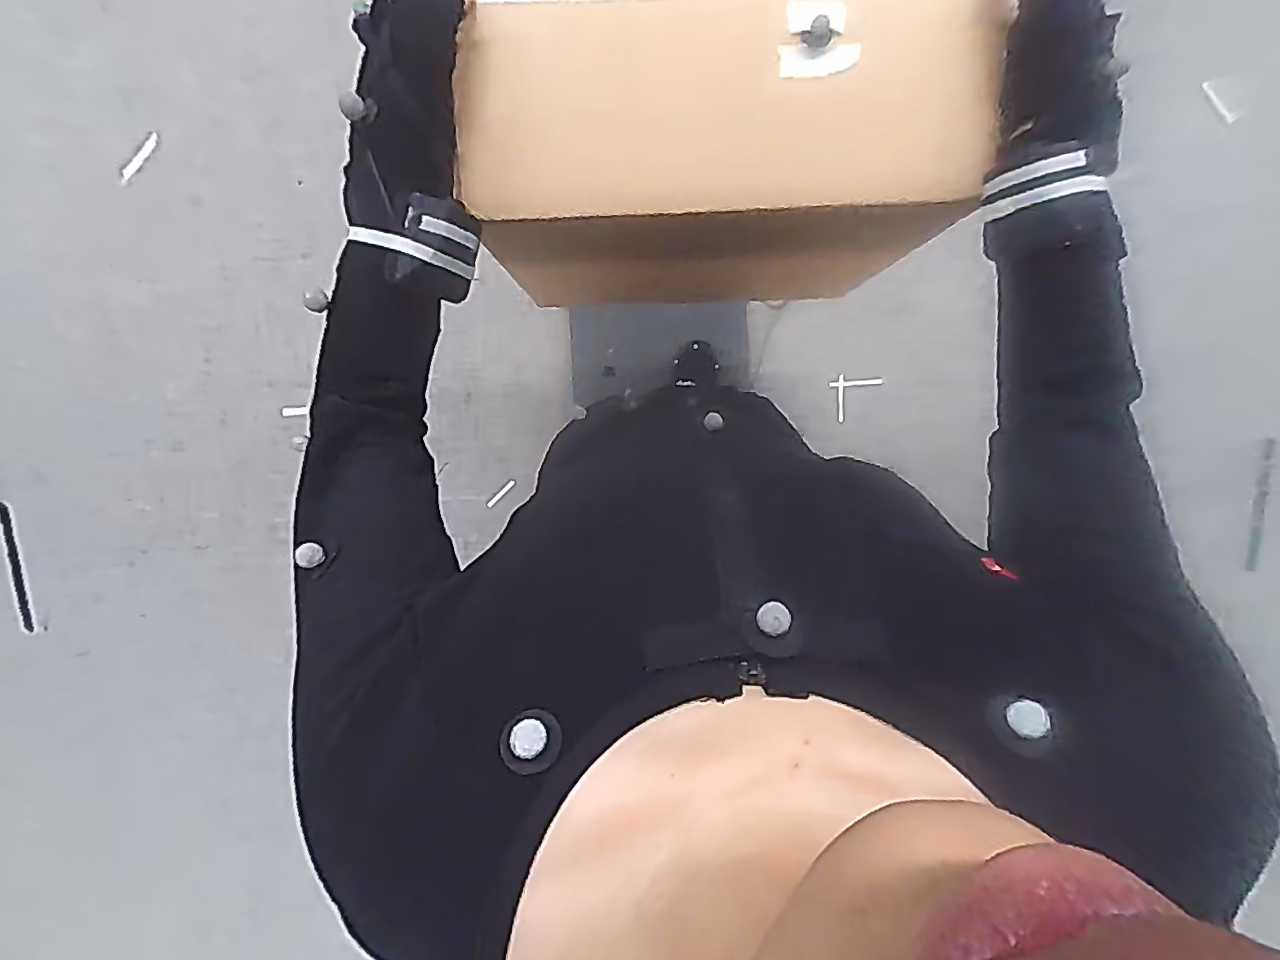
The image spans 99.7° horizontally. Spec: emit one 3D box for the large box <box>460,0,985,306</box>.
[{"bbox_3d":[0.059,-0.380,0.555,0.408,0.320,0.320,-2,96,0],"label":"large box"}]
